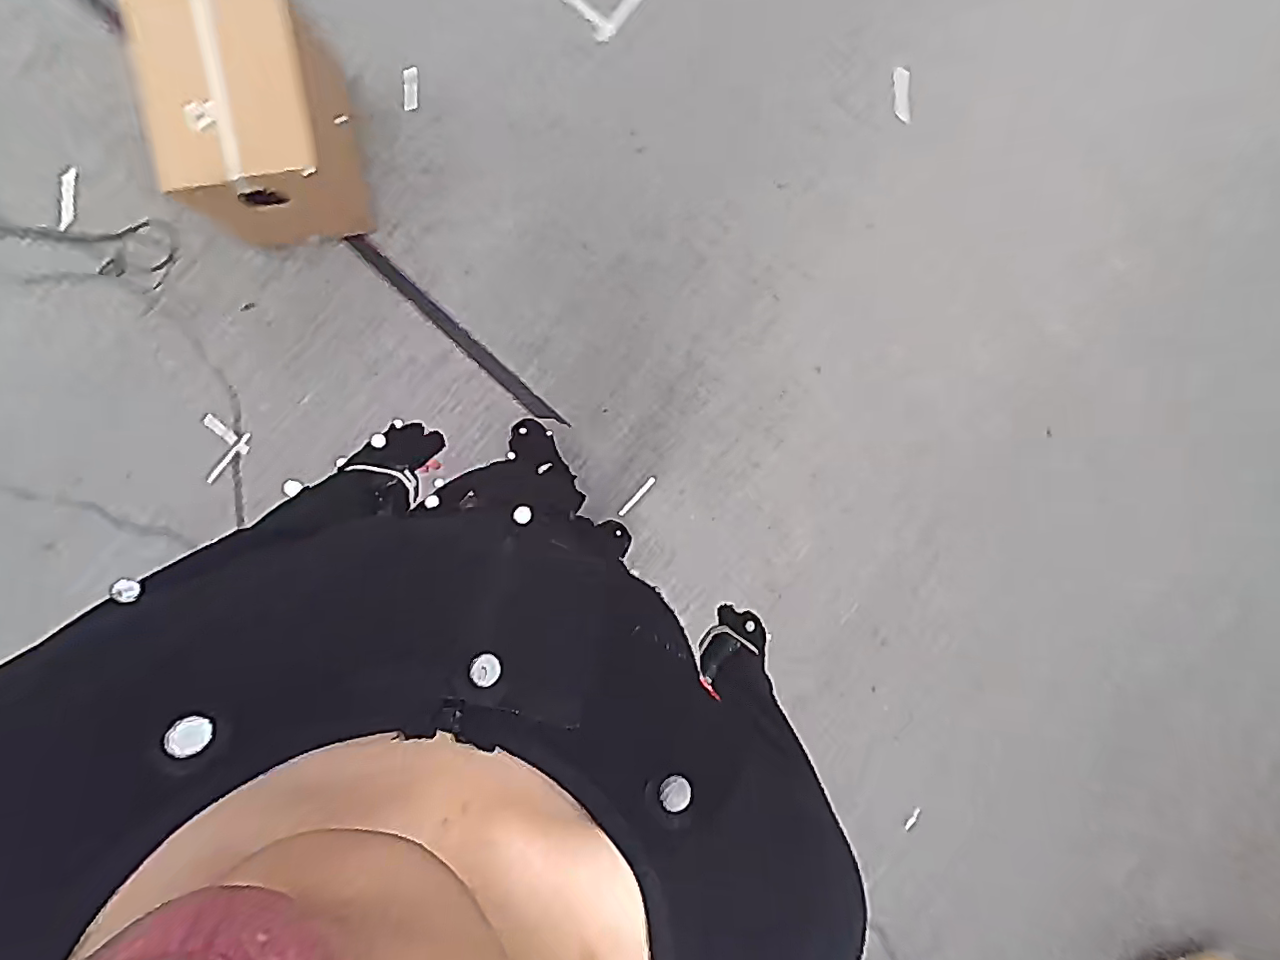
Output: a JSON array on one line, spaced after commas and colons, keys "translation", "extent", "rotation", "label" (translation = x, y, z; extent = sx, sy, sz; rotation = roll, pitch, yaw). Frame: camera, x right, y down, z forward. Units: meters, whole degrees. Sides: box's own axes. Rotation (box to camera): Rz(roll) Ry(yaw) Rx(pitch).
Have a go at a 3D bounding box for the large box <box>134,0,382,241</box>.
[{"translation": [-0.847, -0.832, 1.255], "extent": [0.320, 0.320, 0.408], "rotation": [-10, 94, -2], "label": "large box"}]
